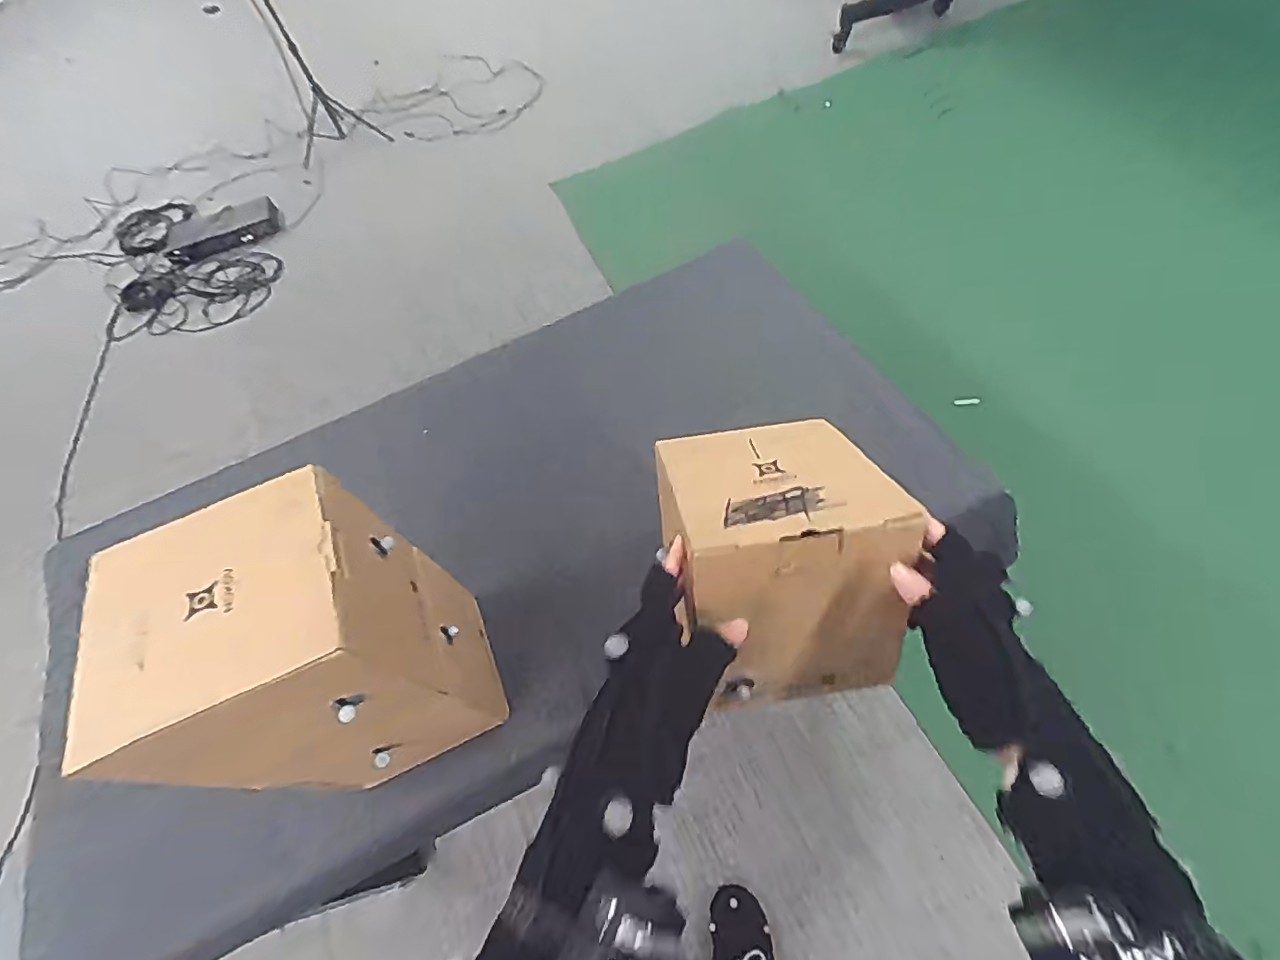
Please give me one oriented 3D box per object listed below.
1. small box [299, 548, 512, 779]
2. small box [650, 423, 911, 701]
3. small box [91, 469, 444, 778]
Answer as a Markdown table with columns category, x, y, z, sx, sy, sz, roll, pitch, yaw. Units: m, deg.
| category | x | y | z | sx | sy | sz | roll | pitch | yaw |
| --- | --- | --- | --- | --- | --- | --- | --- | --- | --- |
| small box | -0.267 | 0.208 | 0.596 | 0.179 | 0.176 | 0.168 | -24 | 58 | -6 |
| small box | 0.106 | 0.070 | 0.473 | 0.168 | 0.176 | 0.179 | -8 | 30 | -2 |
| small box | -0.286 | 0.127 | 0.457 | 0.179 | 0.176 | 0.168 | -25 | 57 | -6 |
